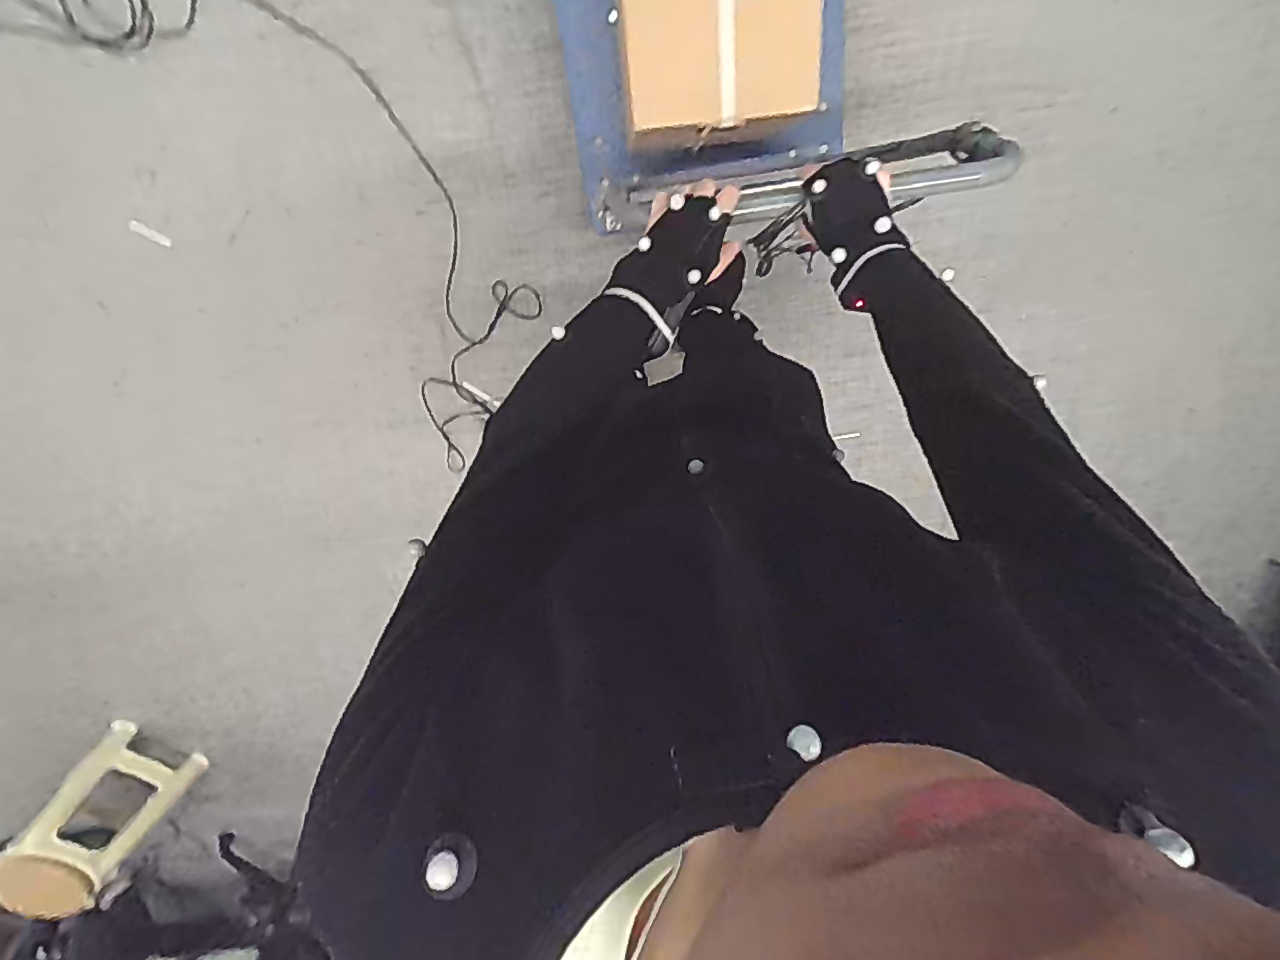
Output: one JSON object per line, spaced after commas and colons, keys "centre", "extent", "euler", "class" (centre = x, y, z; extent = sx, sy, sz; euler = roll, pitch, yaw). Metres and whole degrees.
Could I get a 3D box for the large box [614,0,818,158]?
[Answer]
{"centre": [0.113, -0.833, 0.953], "extent": [0.320, 0.320, 0.408], "euler": [-7, 114, -1], "class": "large box"}
